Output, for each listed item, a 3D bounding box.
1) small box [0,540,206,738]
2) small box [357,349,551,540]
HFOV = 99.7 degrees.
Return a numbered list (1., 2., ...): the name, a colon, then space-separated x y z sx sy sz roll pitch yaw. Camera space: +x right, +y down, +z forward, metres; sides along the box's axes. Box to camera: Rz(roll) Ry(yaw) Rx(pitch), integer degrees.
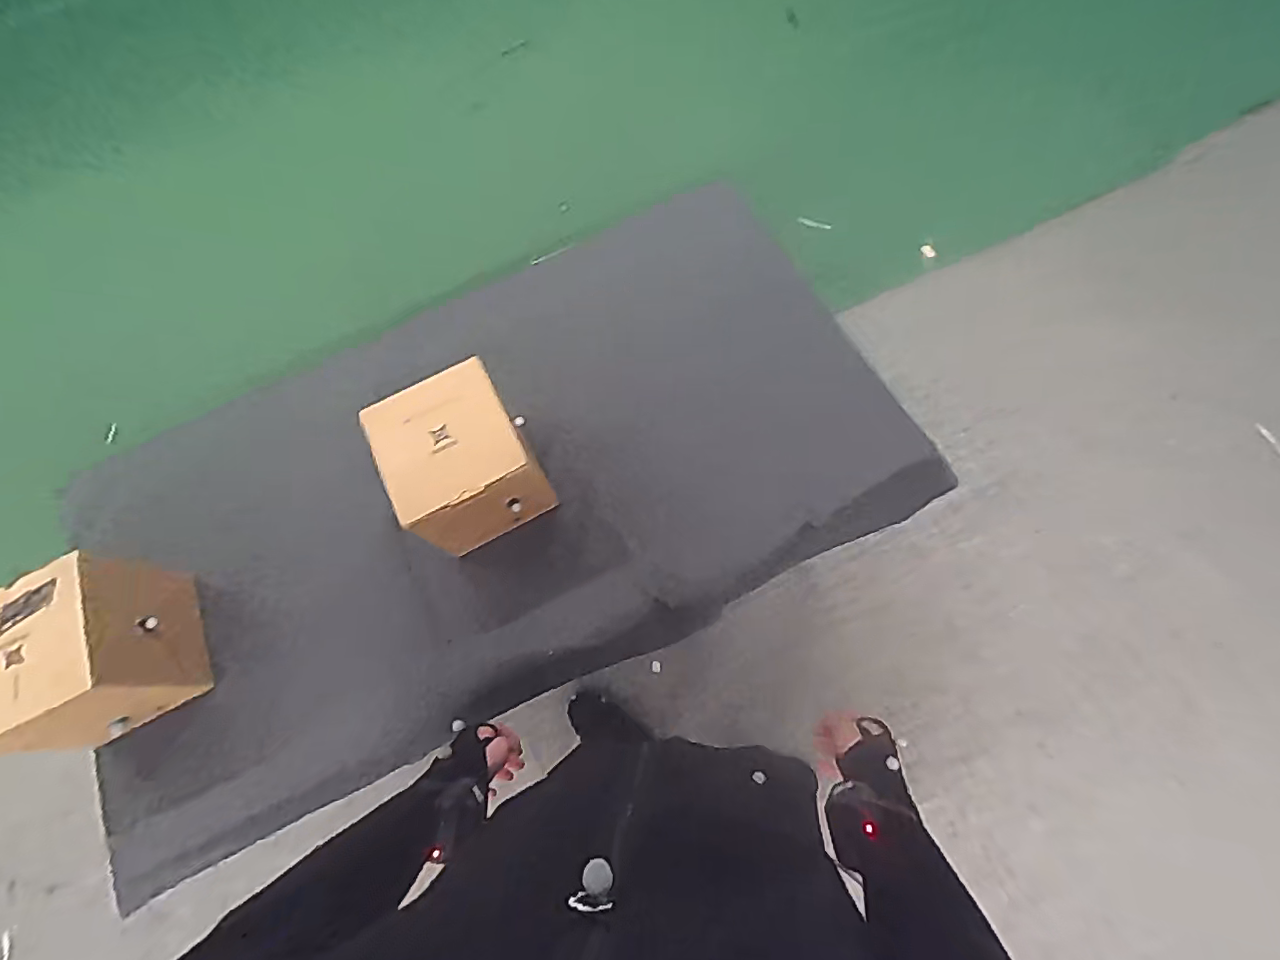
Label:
1. small box: -0.694 0.203 0.672 0.168 0.176 0.179 -27 70 -6
2. small box: -0.236 -0.034 0.727 0.168 0.176 0.179 -27 70 -7
